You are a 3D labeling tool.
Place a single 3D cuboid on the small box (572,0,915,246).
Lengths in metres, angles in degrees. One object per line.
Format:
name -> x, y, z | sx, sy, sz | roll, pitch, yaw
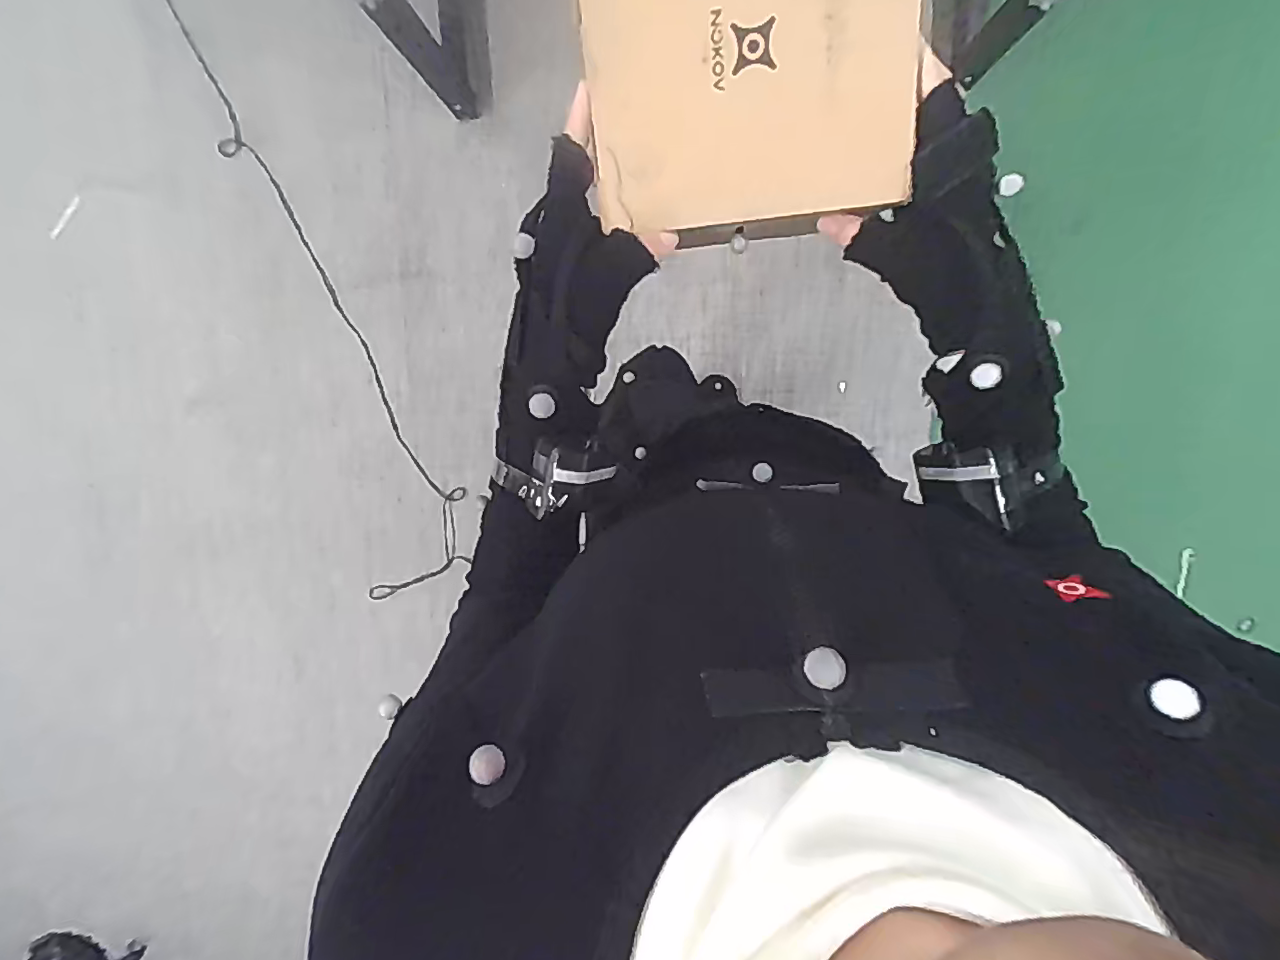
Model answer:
small box -> 0.061, -0.257, 0.360 | 0.179, 0.176, 0.168 | -5, 110, 6
